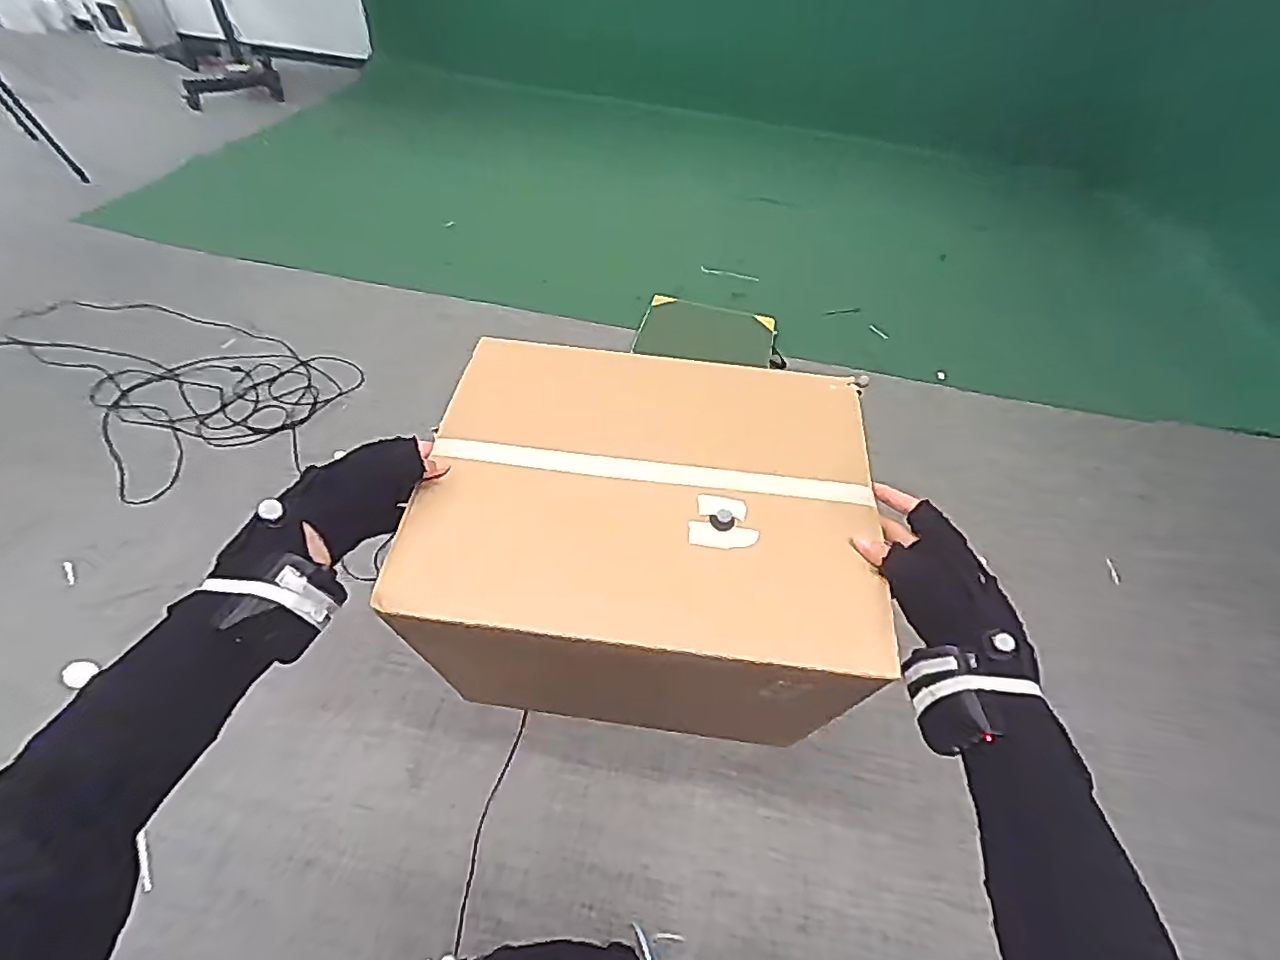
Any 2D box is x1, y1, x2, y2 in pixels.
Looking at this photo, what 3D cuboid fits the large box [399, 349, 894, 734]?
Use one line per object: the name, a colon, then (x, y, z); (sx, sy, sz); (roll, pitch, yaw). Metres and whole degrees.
large box: (0.010, 0.084, 0.630); (0.408, 0.320, 0.320); (7, 56, 1)
